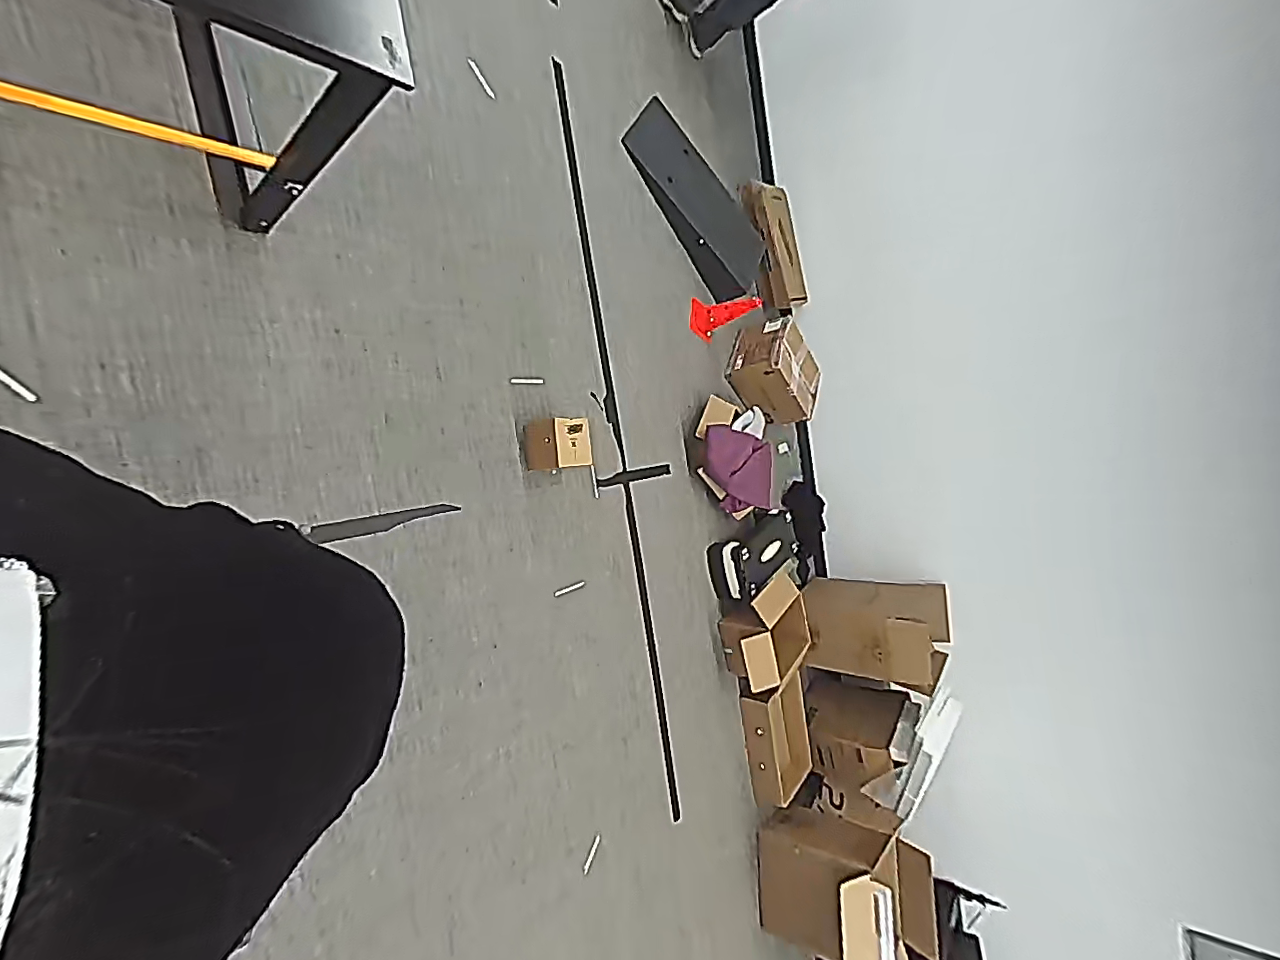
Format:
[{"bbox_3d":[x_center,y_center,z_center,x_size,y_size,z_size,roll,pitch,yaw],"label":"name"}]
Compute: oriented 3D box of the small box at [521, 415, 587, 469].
[{"bbox_3d":[-0.316,-0.137,1.969,0.168,0.176,0.179,-7,92,-51],"label":"small box"}]
